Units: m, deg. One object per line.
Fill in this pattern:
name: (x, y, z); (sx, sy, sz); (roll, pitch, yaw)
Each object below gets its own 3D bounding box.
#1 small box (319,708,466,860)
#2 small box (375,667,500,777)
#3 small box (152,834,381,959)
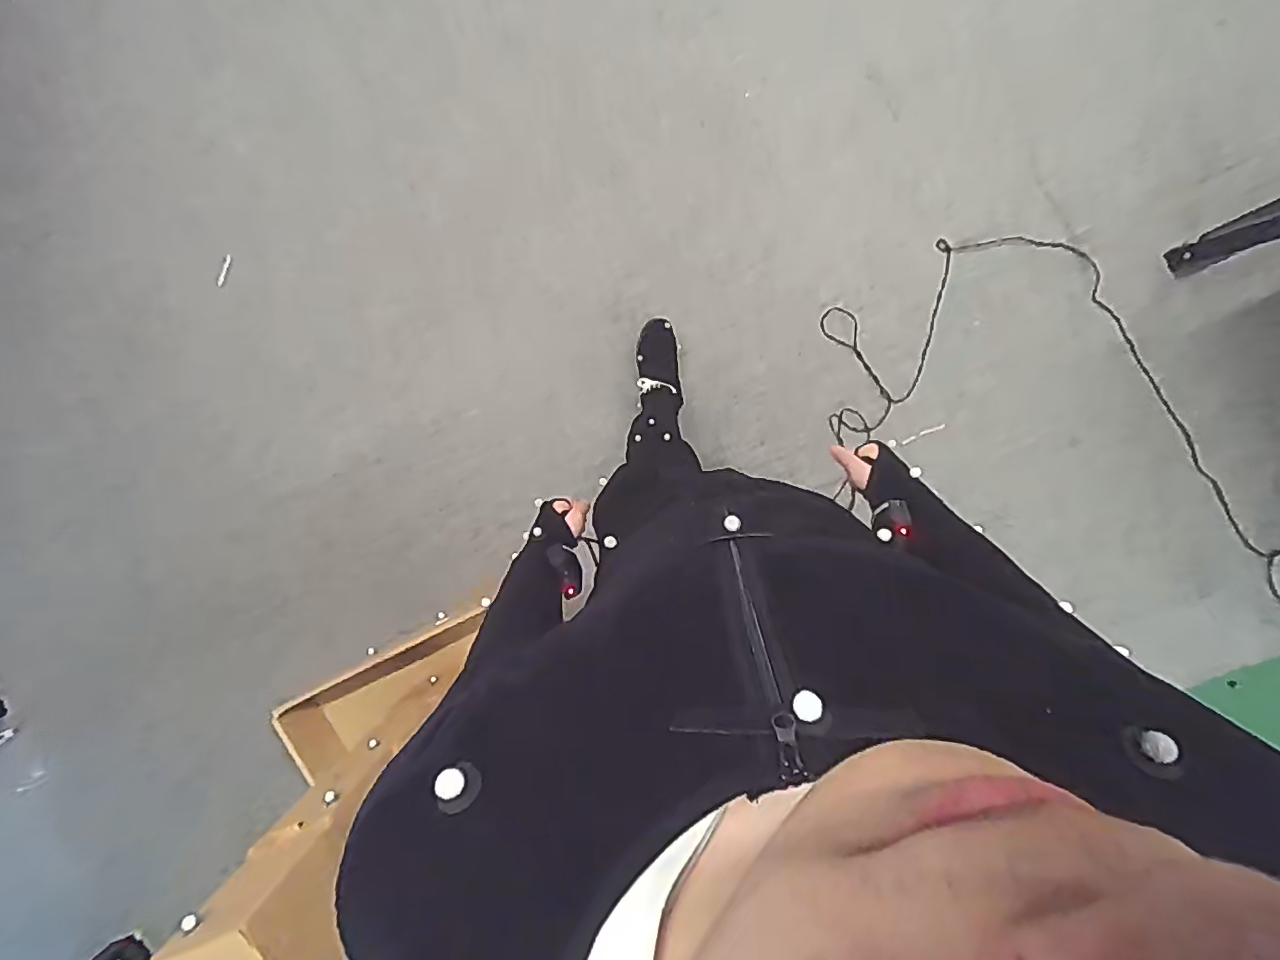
small box: (-0.466, 0.580, 1.054); (0.179, 0.176, 0.168); (-27, 93, 9)
small box: (-0.444, 0.558, 1.216); (0.168, 0.176, 0.179); (-27, 93, 9)
small box: (-0.498, 0.632, 0.731); (0.179, 0.176, 0.168); (-28, 95, 9)
